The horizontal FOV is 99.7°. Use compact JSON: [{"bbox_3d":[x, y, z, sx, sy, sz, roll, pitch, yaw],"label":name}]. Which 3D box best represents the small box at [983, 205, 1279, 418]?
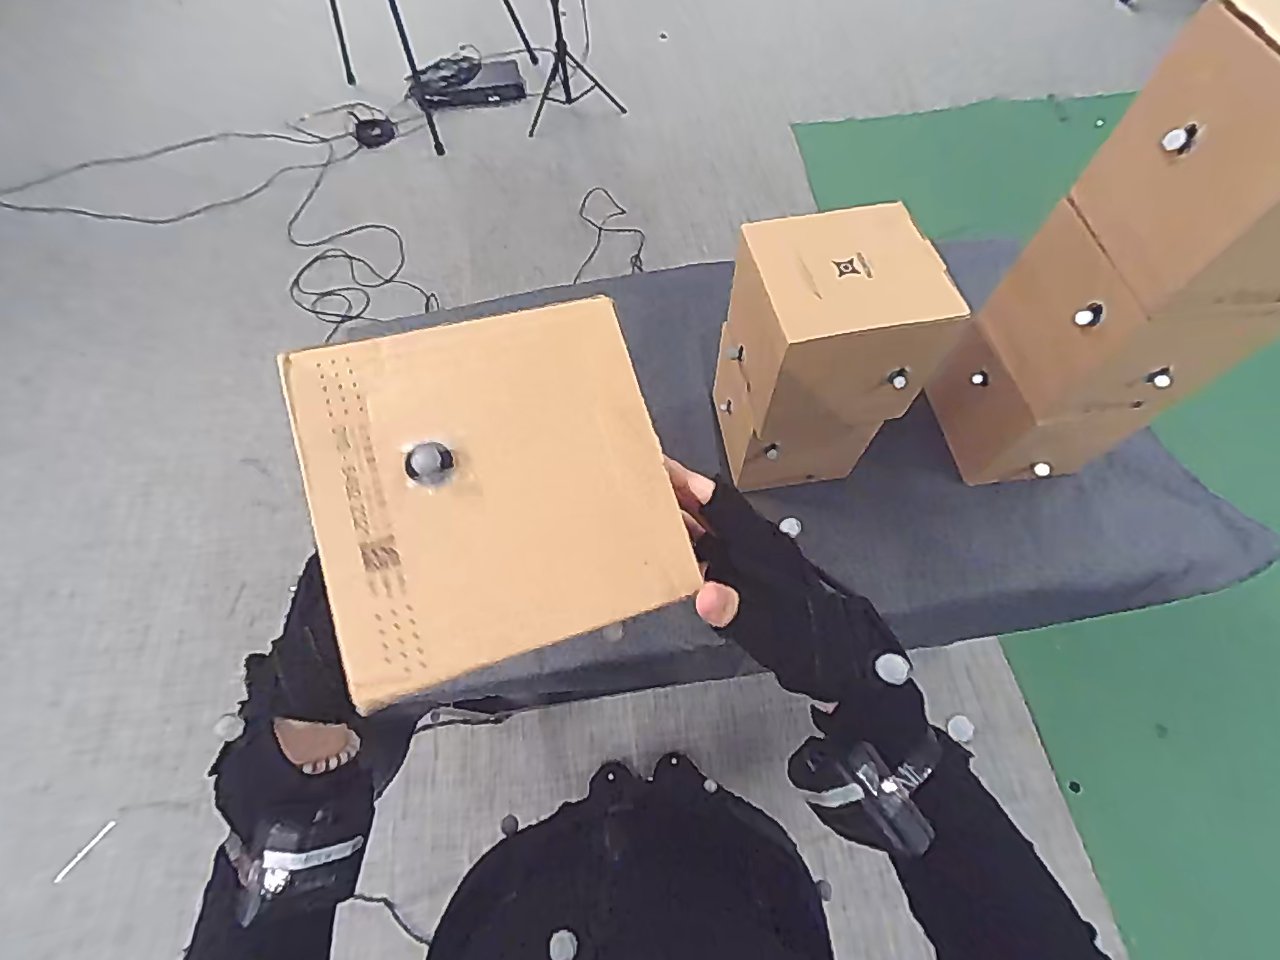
[{"bbox_3d":[0.527,-0.181,0.598,0.168,0.176,0.179,-5,62,-1],"label":"small box"}]

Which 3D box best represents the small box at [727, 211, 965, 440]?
[{"bbox_3d":[0.207,-0.164,0.601,0.179,0.176,0.168,-9,62,-3],"label":"small box"}]

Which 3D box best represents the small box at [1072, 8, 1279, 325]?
[{"bbox_3d":[0.520,-0.255,0.451,0.168,0.176,0.179,-4,62,1],"label":"small box"}]
